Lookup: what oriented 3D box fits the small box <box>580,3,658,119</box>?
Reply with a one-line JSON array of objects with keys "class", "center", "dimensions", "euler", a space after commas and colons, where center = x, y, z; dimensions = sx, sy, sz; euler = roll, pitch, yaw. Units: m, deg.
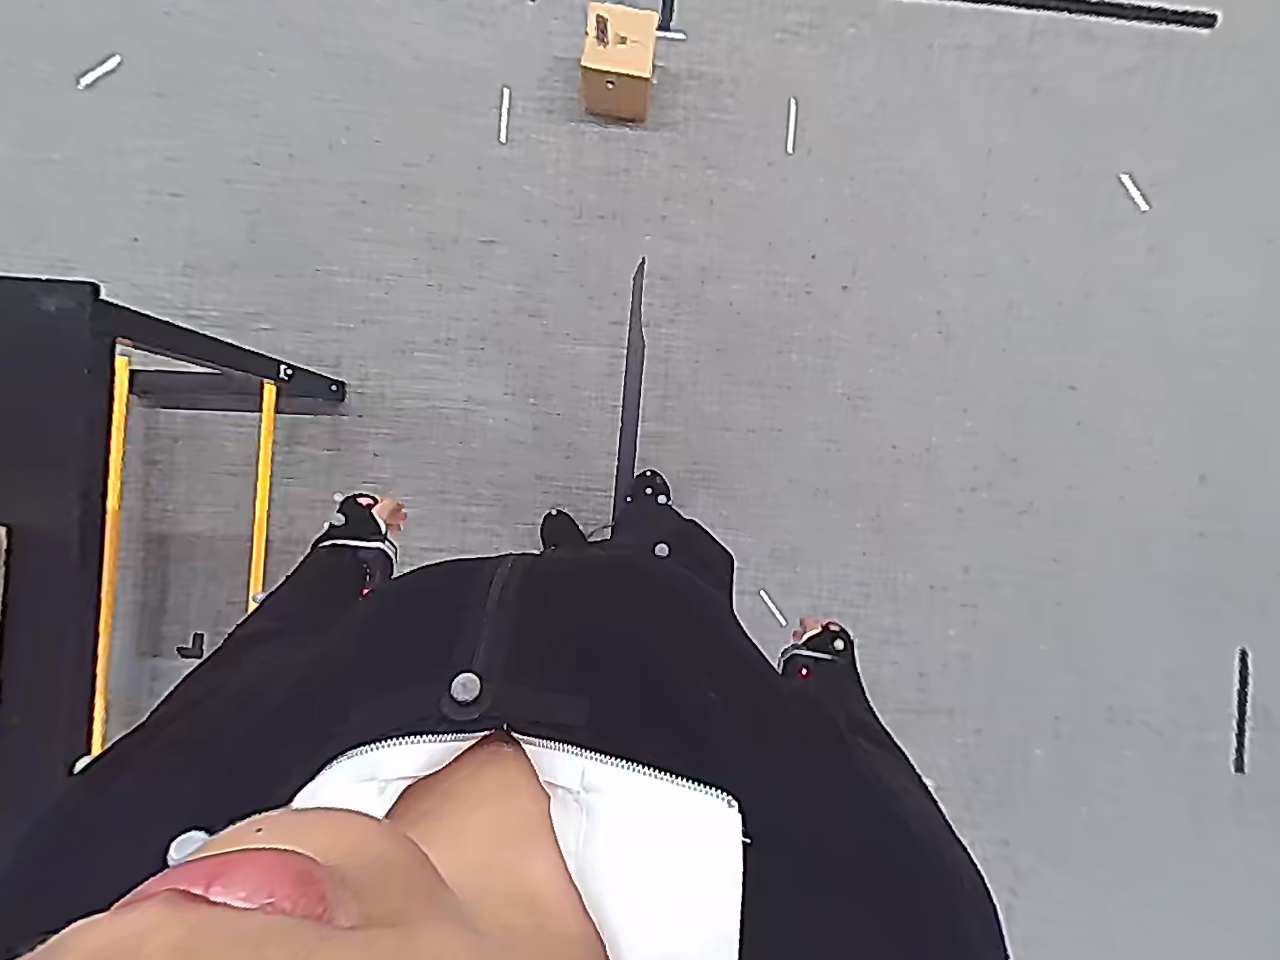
[{"class": "small box", "center": [-0.055, -1.088, 1.418], "dimensions": [0.179, 0.176, 0.168], "euler": [8, 90, -3]}]
